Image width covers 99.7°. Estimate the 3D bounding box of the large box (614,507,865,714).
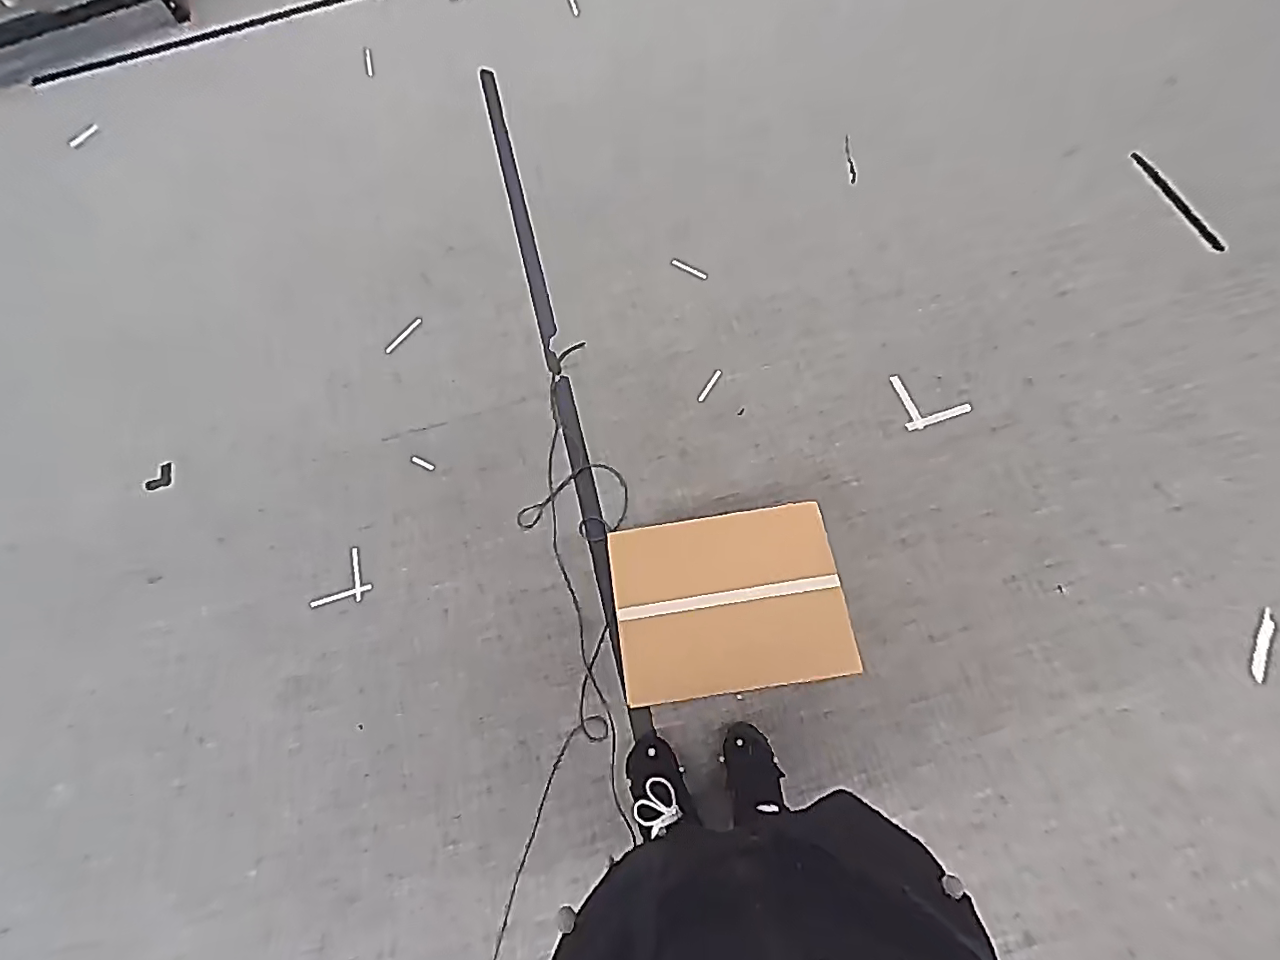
[{"bbox_3d":[0.177,0.278,1.109,0.408,0.320,0.320,-9,70,1],"label":"large box"}]
